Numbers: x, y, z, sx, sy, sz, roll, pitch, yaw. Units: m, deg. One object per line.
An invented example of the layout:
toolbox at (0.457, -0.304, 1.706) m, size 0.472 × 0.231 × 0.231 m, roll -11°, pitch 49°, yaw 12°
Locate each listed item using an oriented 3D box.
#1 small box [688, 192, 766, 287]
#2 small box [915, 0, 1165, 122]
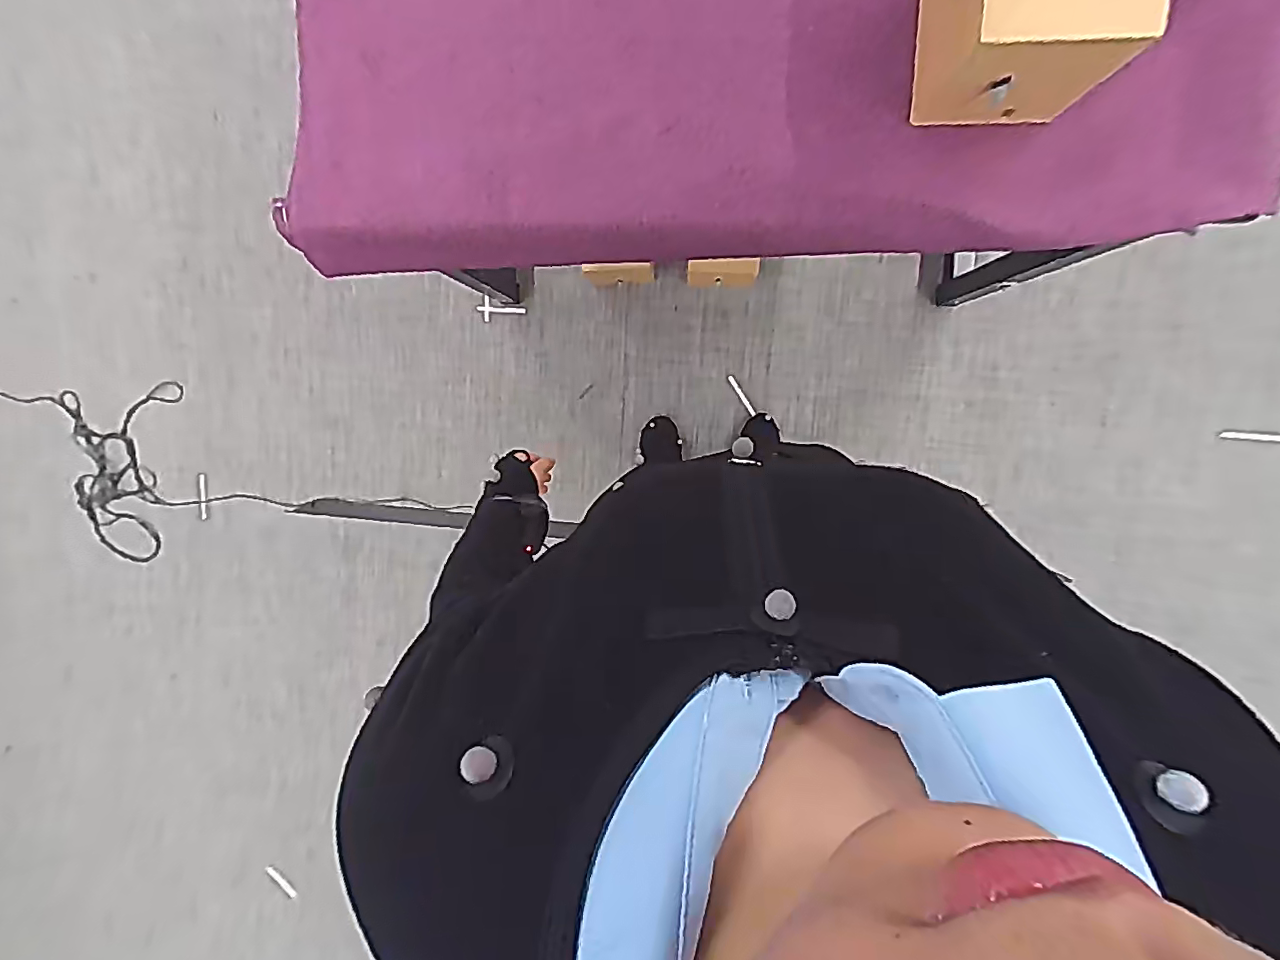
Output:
small box at (0.207, -0.581, 1.326) m, size 0.168 × 0.176 × 0.179 m, roll 5°, pitch 98°, yaw 4°
small box at (0.415, -0.513, 0.579) m, size 0.168 × 0.176 × 0.179 m, roll 2°, pitch 98°, yaw 5°
